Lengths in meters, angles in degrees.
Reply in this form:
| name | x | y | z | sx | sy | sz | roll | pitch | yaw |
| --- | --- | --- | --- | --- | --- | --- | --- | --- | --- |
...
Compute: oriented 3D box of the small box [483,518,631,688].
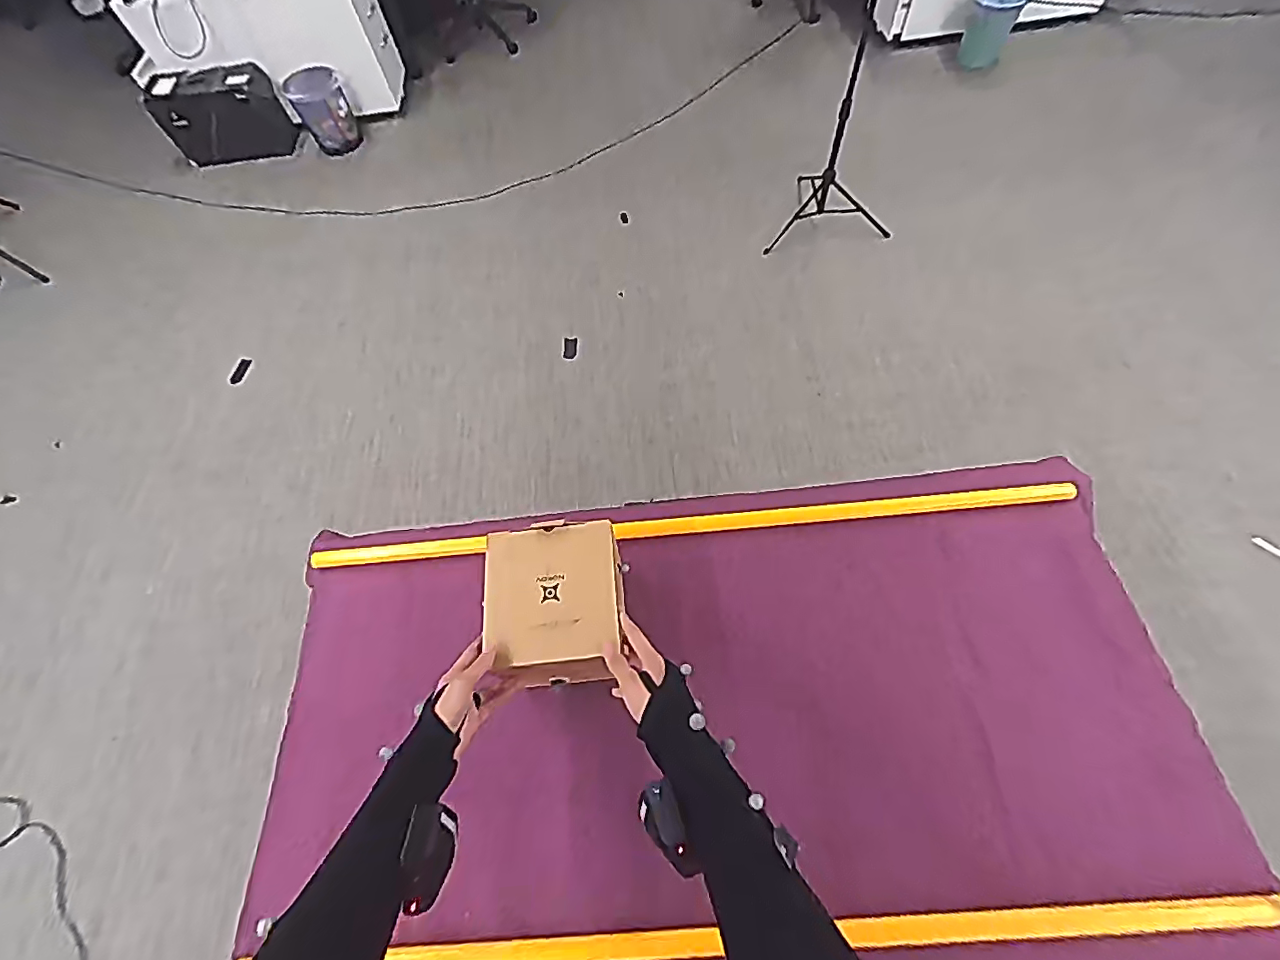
| name | x | y | z | sx | sy | sz | roll | pitch | yaw |
| --- | --- | --- | --- | --- | --- | --- | --- | --- | --- |
| small box | -0.105 | 0.172 | 0.736 | 0.168 | 0.176 | 0.179 | -7 | 61 | 0 |
